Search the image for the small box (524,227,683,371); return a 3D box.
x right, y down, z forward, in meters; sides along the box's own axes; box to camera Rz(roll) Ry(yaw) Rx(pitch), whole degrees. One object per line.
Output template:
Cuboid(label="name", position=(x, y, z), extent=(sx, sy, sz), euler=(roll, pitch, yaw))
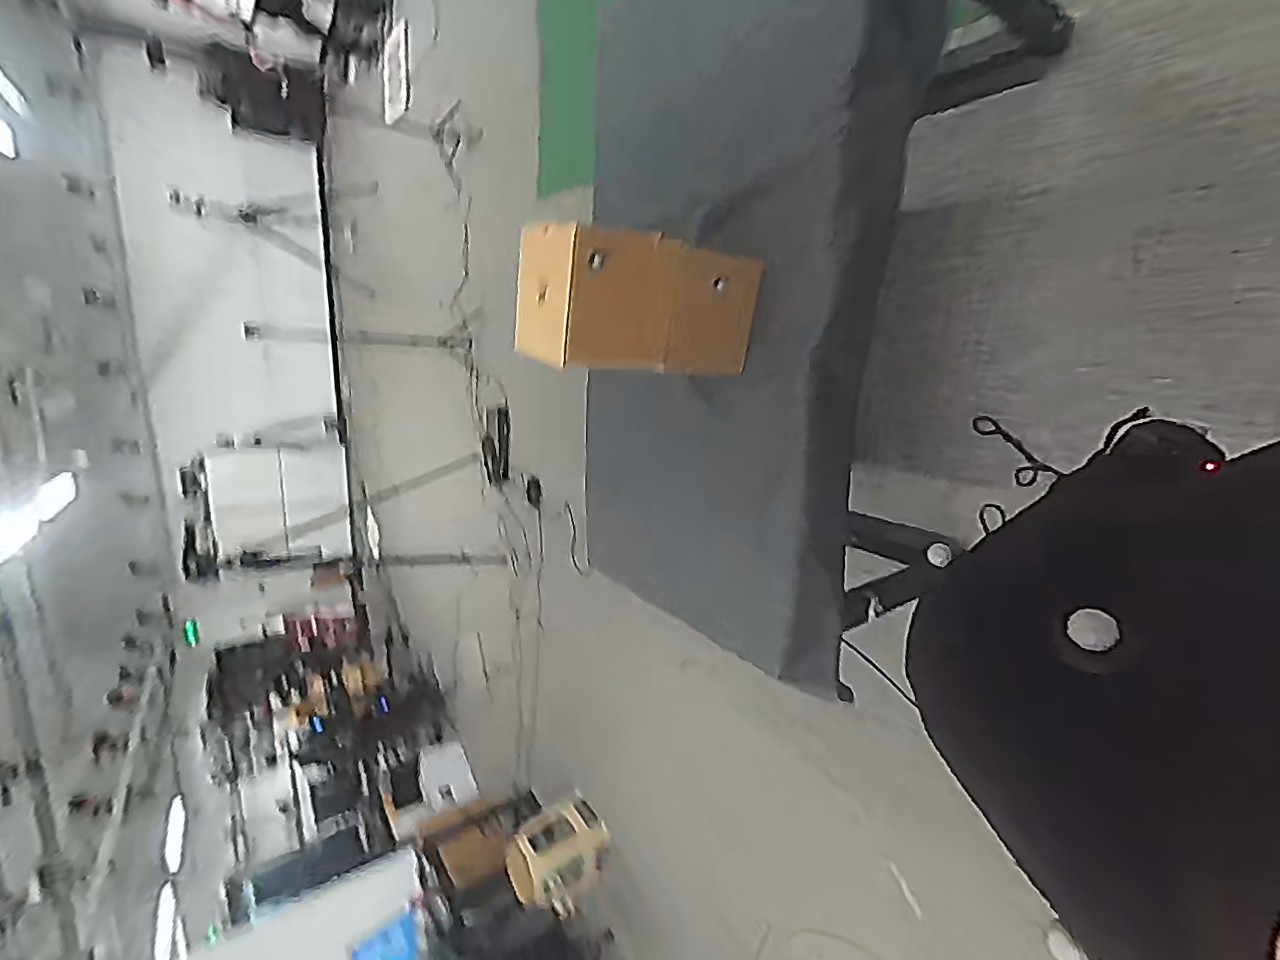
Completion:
Cuboid(label="small box", position=(-0.055, -0.258, 0.785), extent=(0.168, 0.176, 0.179), euler=(31, 119, 49))

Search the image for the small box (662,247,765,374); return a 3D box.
Cuboid(label="small box", position=(0.080, -0.273, 0.874), extent=(0.168, 0.176, 0.179), euler=(31, 121, 50))
